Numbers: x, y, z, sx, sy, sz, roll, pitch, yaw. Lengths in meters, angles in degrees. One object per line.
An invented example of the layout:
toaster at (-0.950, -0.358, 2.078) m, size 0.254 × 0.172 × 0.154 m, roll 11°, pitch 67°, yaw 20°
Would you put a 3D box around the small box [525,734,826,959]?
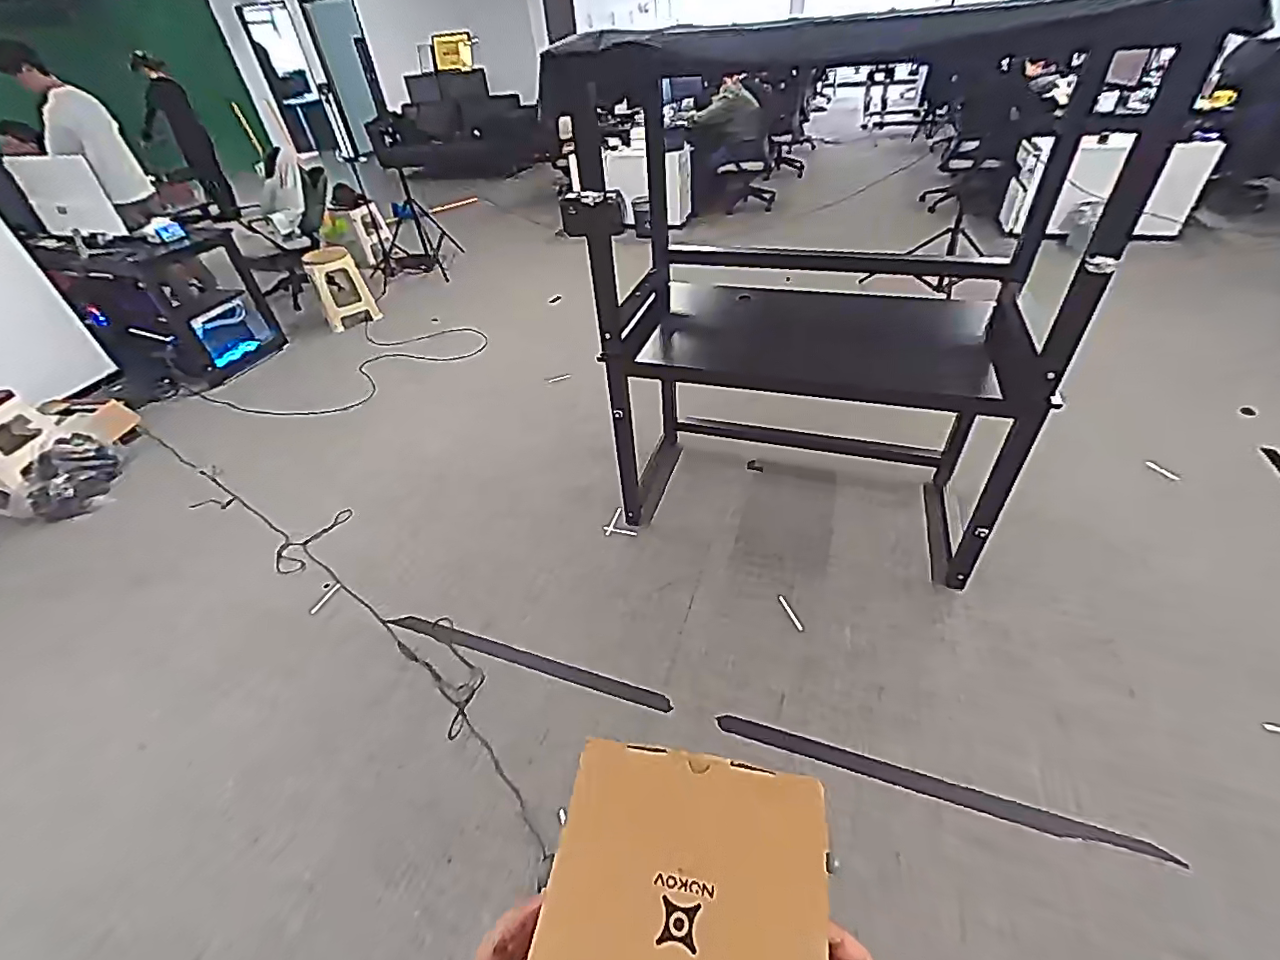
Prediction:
small box at (0.030, 0.306, 0.367) m, size 0.168 × 0.176 × 0.179 m, roll 4°, pitch 44°, yaw 11°
